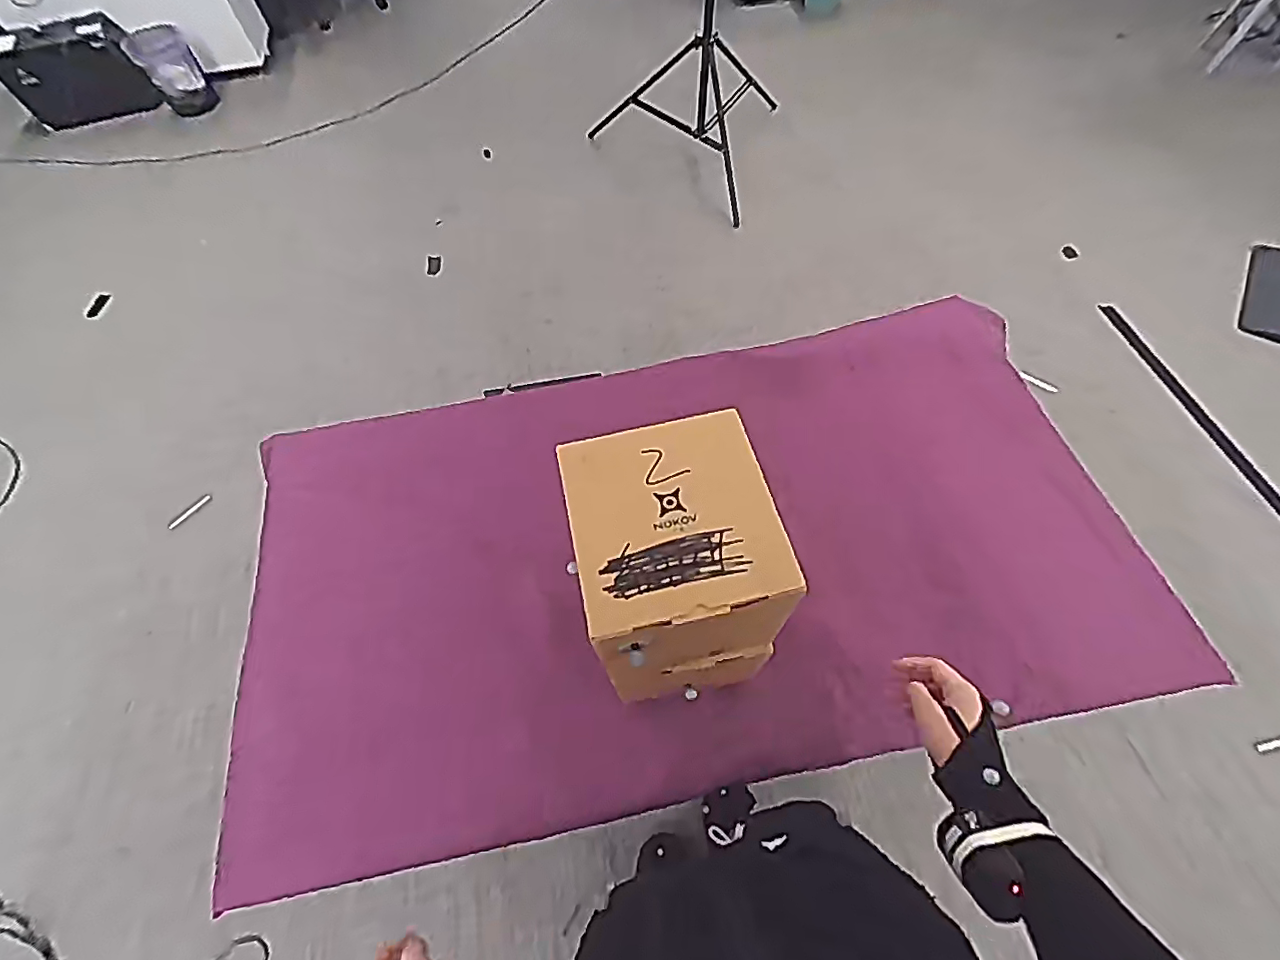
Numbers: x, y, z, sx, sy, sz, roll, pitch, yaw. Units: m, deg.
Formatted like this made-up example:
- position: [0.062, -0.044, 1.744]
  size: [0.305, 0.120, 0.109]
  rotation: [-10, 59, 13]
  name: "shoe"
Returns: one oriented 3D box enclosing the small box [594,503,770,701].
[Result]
- position: [0.042, 0.151, 0.650]
  size: [0.168, 0.176, 0.179]
  rotation: [-9, 61, -2]
  name: "small box"
